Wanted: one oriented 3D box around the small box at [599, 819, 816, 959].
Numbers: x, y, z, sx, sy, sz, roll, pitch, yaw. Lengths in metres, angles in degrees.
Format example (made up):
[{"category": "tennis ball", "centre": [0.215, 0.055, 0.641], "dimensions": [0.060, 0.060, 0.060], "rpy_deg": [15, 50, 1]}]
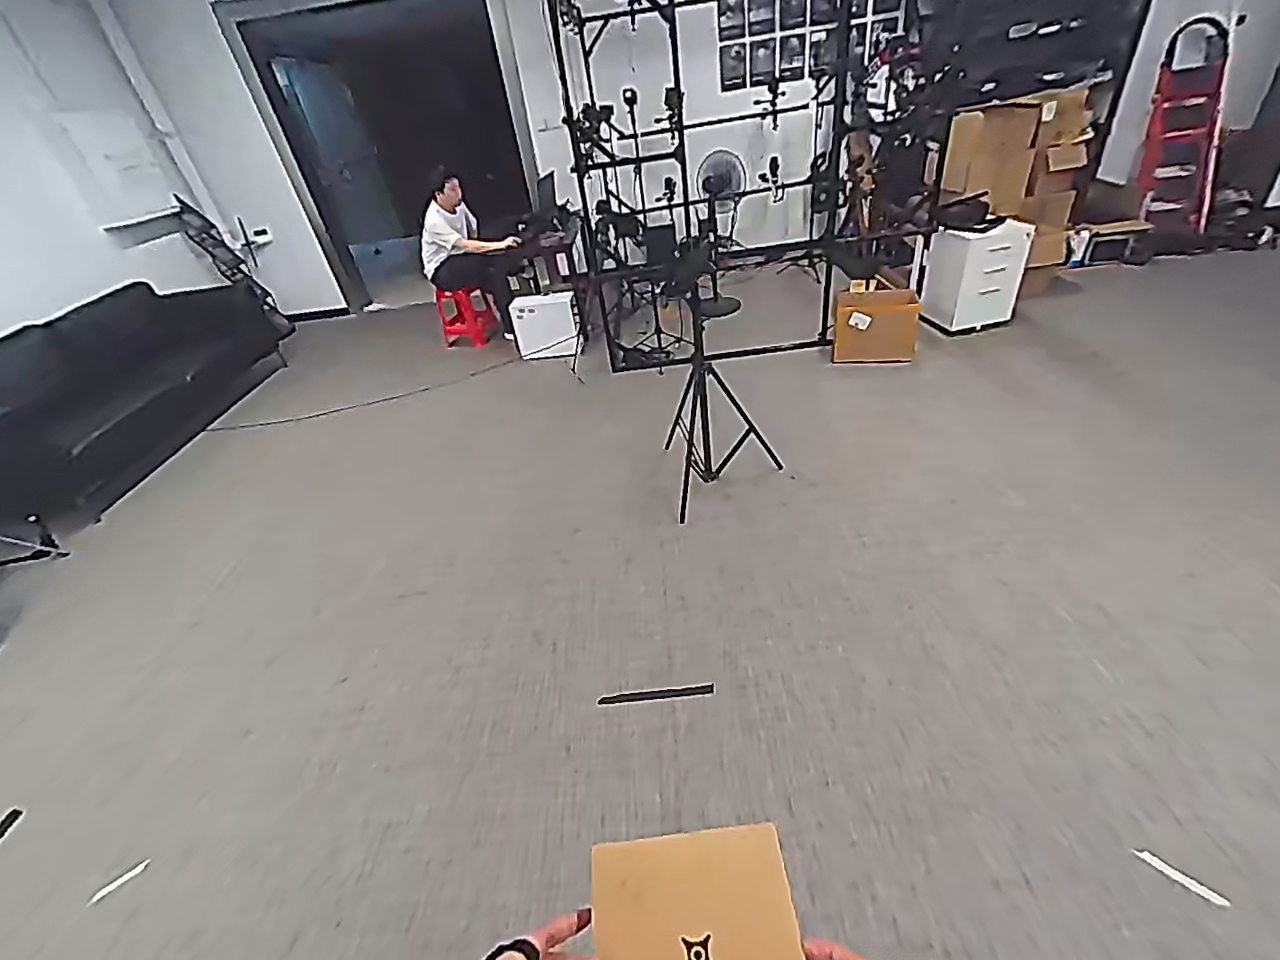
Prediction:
[{"category": "small box", "centre": [0.057, 0.422, 0.467], "dimensions": [0.168, 0.176, 0.179], "rpy_deg": [-7, 45, 0]}]
